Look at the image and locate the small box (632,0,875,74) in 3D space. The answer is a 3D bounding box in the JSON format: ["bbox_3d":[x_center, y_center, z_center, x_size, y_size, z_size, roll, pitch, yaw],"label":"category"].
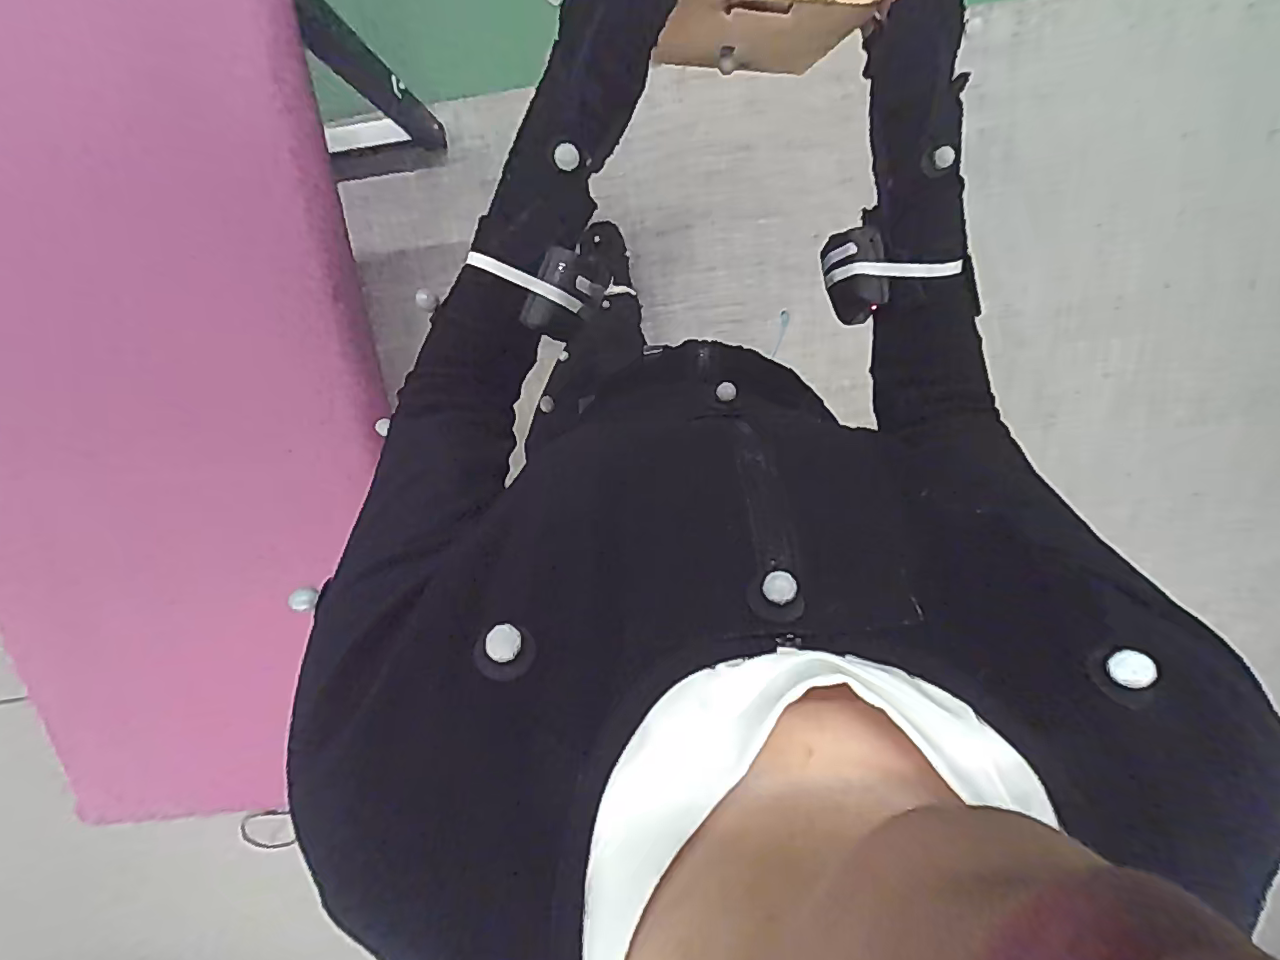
[{"bbox_3d":[0.083,-0.439,0.402,0.168,0.176,0.179,3,114,-4],"label":"small box"}]
